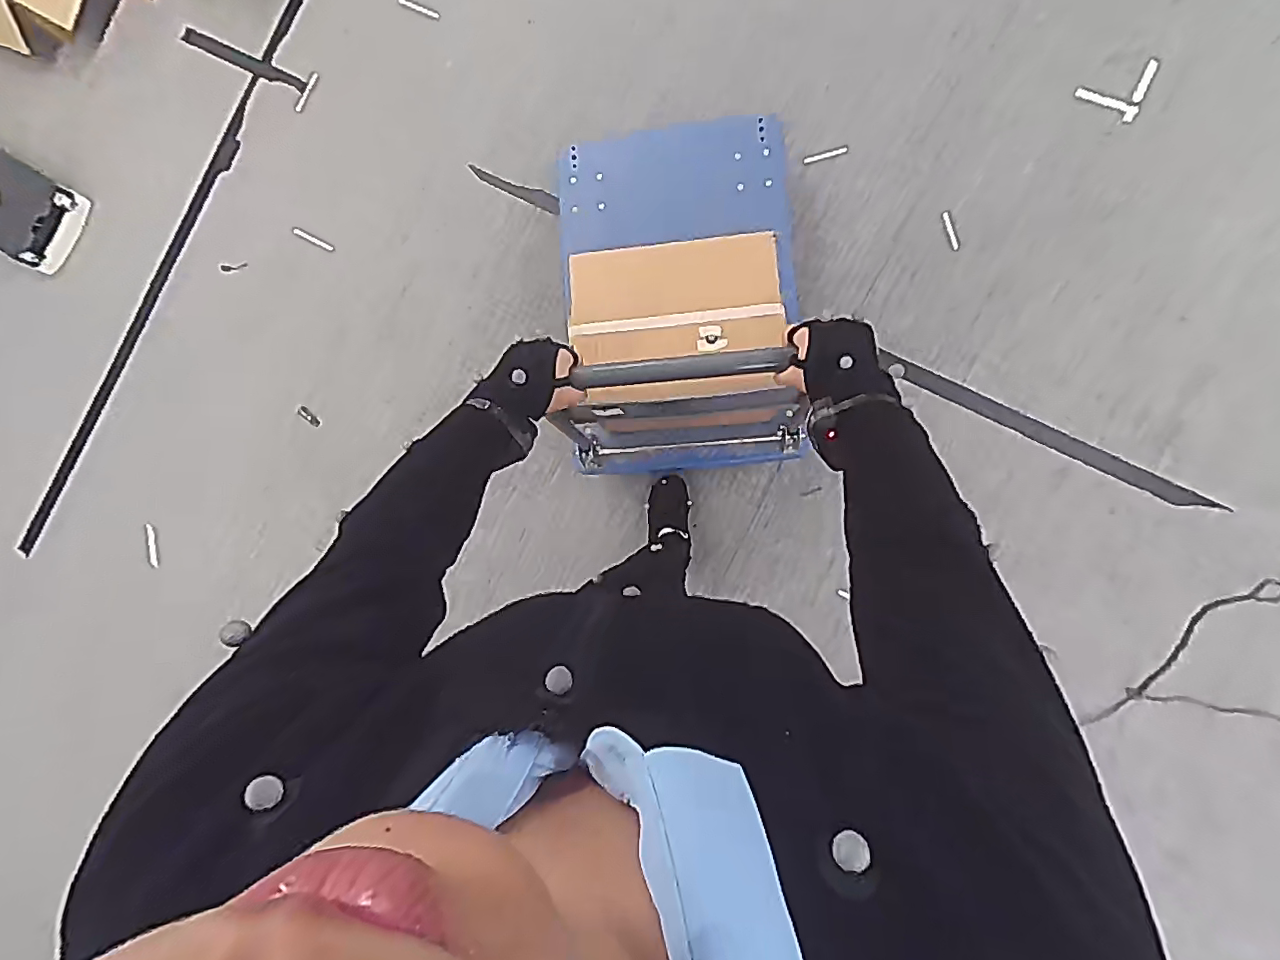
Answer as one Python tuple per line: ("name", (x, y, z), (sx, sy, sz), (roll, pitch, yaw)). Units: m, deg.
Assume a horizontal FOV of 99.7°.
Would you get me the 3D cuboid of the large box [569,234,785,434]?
("large box", (0.079, -0.293, 1.189), (0.408, 0.320, 0.320), (-4, 86, 5))
